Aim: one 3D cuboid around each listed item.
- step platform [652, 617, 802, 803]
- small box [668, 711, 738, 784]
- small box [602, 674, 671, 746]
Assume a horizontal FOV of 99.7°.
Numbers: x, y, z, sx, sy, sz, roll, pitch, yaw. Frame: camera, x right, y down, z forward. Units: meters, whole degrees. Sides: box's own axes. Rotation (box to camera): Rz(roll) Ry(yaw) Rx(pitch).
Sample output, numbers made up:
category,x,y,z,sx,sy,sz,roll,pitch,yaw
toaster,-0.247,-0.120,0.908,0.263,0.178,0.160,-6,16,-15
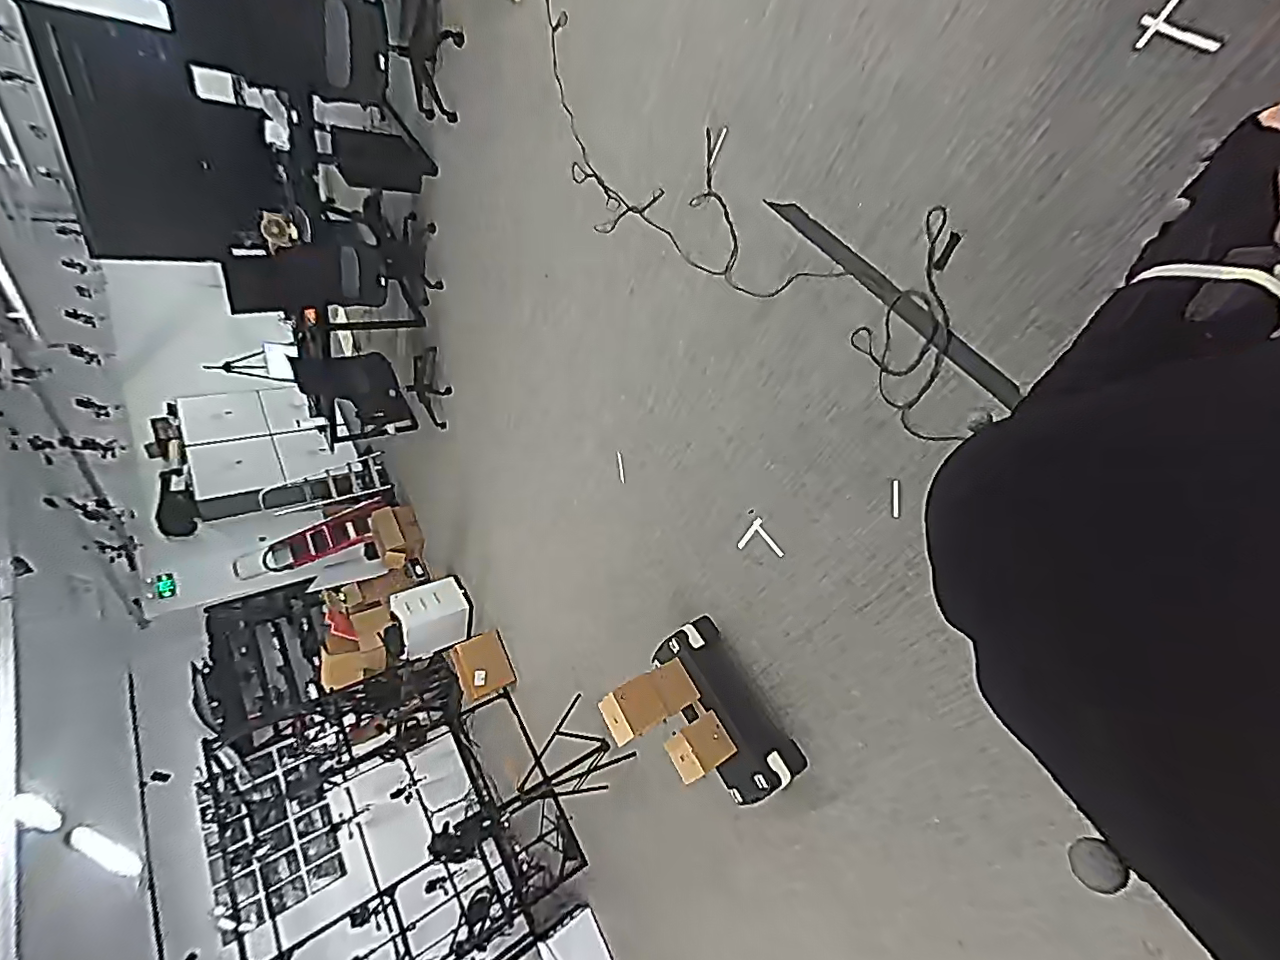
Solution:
category,x,y,z,sx,sy,sz,roll,pitch,yaw
step platform,0.325,0.913,2.177,0.684,0.204,0.286,54,140,26
small box,0.238,1.001,2.028,0.168,0.176,0.179,55,140,24
small box,-0.012,0.862,2.034,0.179,0.176,0.168,57,141,24
